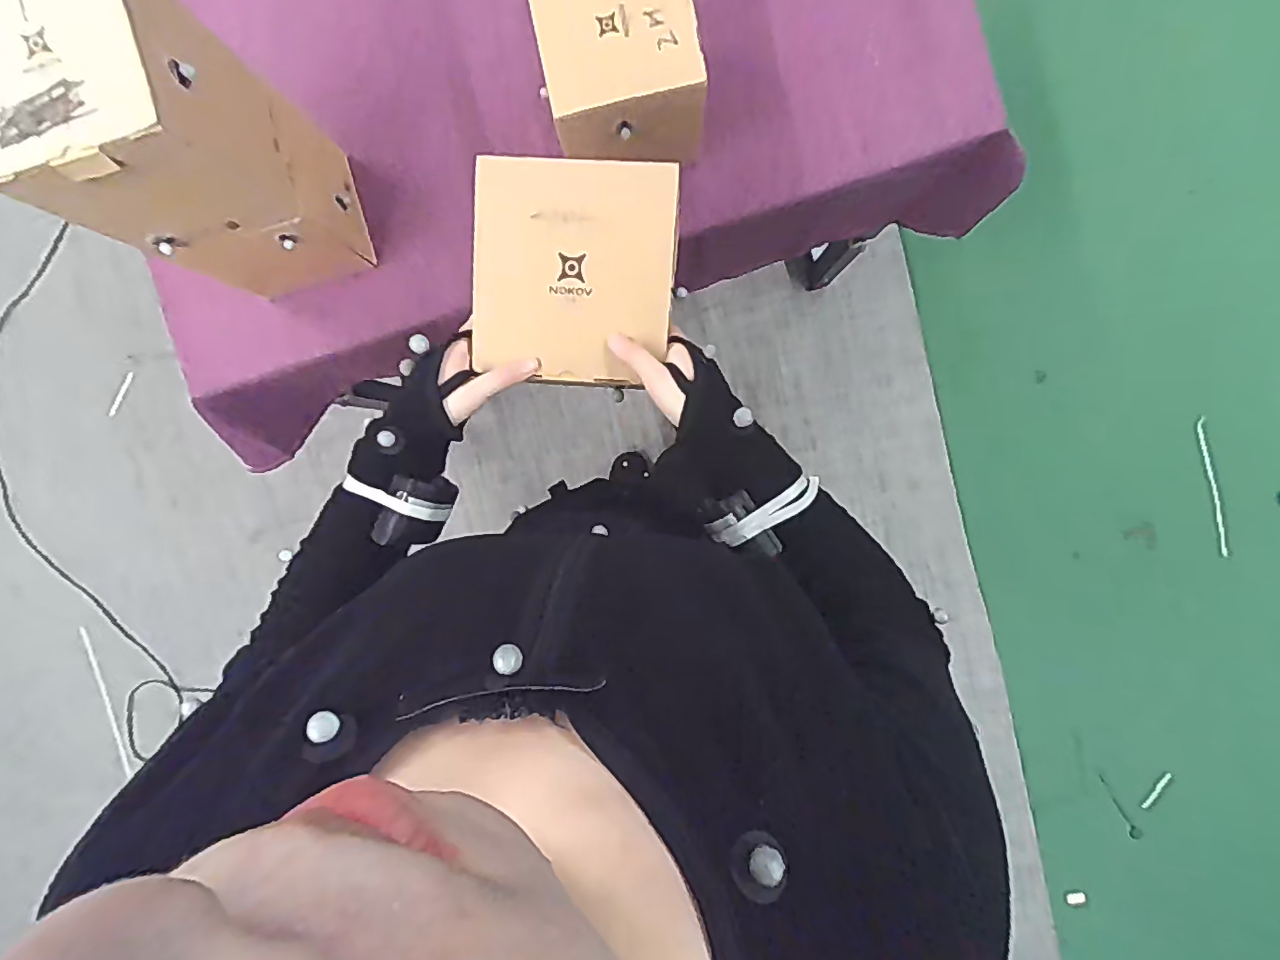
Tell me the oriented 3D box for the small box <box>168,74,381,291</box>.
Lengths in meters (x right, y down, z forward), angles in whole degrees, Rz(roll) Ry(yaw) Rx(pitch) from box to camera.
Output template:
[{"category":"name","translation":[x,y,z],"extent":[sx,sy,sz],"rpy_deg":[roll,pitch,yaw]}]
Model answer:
[{"category":"small box","translation":[-0.476,-0.365,0.700],"extent":[0.179,0.176,0.168],"rpy_deg":[-15,92,3]}]

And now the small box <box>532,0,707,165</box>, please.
[{"category":"small box","translation":[-0.020,-0.502,0.668],"extent":[0.179,0.176,0.168],"rpy_deg":[-11,93,3]}]

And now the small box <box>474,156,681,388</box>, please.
[{"category":"small box","translation":[-0.049,-0.184,0.527],"extent":[0.168,0.176,0.179],"rpy_deg":[5,98,4]}]

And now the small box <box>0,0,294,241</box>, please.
[{"category":"small box","translation":[-0.487,-0.362,0.536],"extent":[0.168,0.176,0.179],"rpy_deg":[-16,91,3]}]
